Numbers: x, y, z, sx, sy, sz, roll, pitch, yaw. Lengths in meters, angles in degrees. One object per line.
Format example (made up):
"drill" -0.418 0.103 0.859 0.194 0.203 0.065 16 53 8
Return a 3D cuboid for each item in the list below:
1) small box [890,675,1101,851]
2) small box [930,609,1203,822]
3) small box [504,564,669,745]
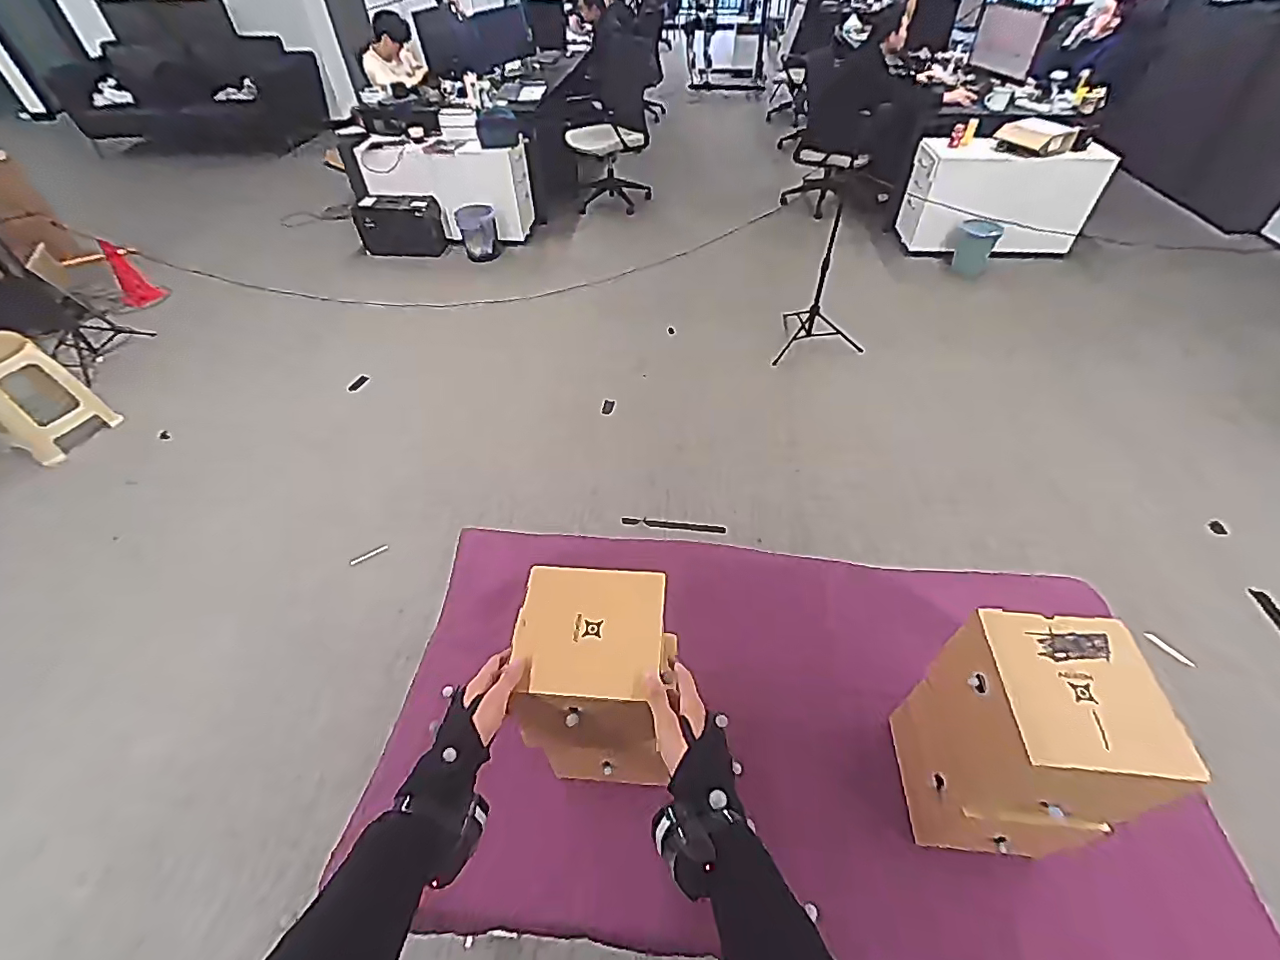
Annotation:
"small box" 0.472 0.397 0.755 0.168 0.176 0.179 4 47 5
"small box" 0.472 0.278 0.641 0.168 0.176 0.179 4 47 5
"small box" -0.054 0.229 0.699 0.179 0.176 0.168 2 47 5
